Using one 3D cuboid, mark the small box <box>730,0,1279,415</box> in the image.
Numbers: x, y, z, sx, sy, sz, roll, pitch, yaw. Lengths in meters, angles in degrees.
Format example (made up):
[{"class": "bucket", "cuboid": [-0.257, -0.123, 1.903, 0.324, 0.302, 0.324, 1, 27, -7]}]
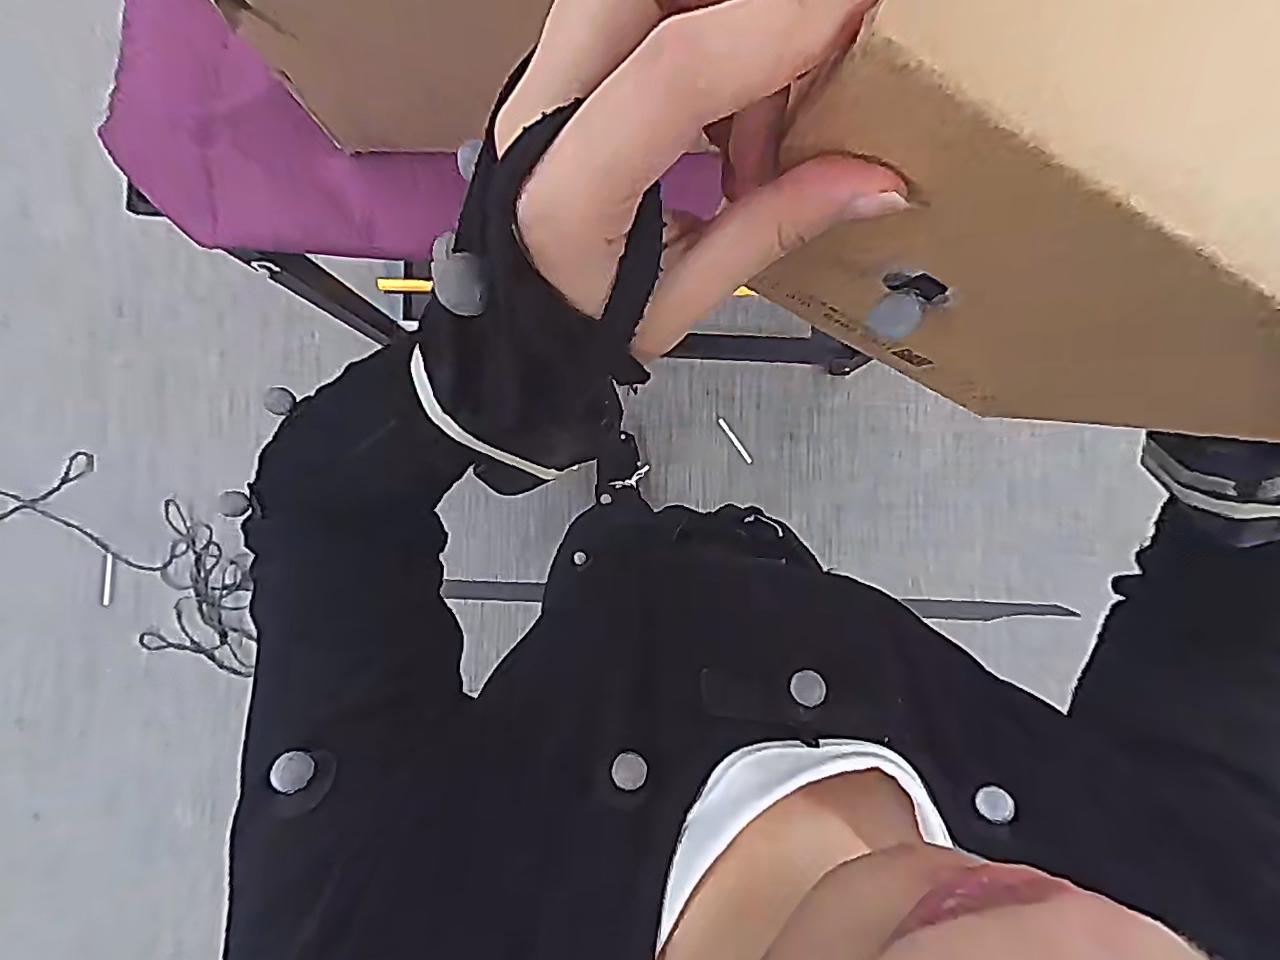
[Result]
[{"class": "small box", "cuboid": [0.143, -0.127, 0.168, 0.168, 0.176, 0.179, 26, 96, -7]}]
